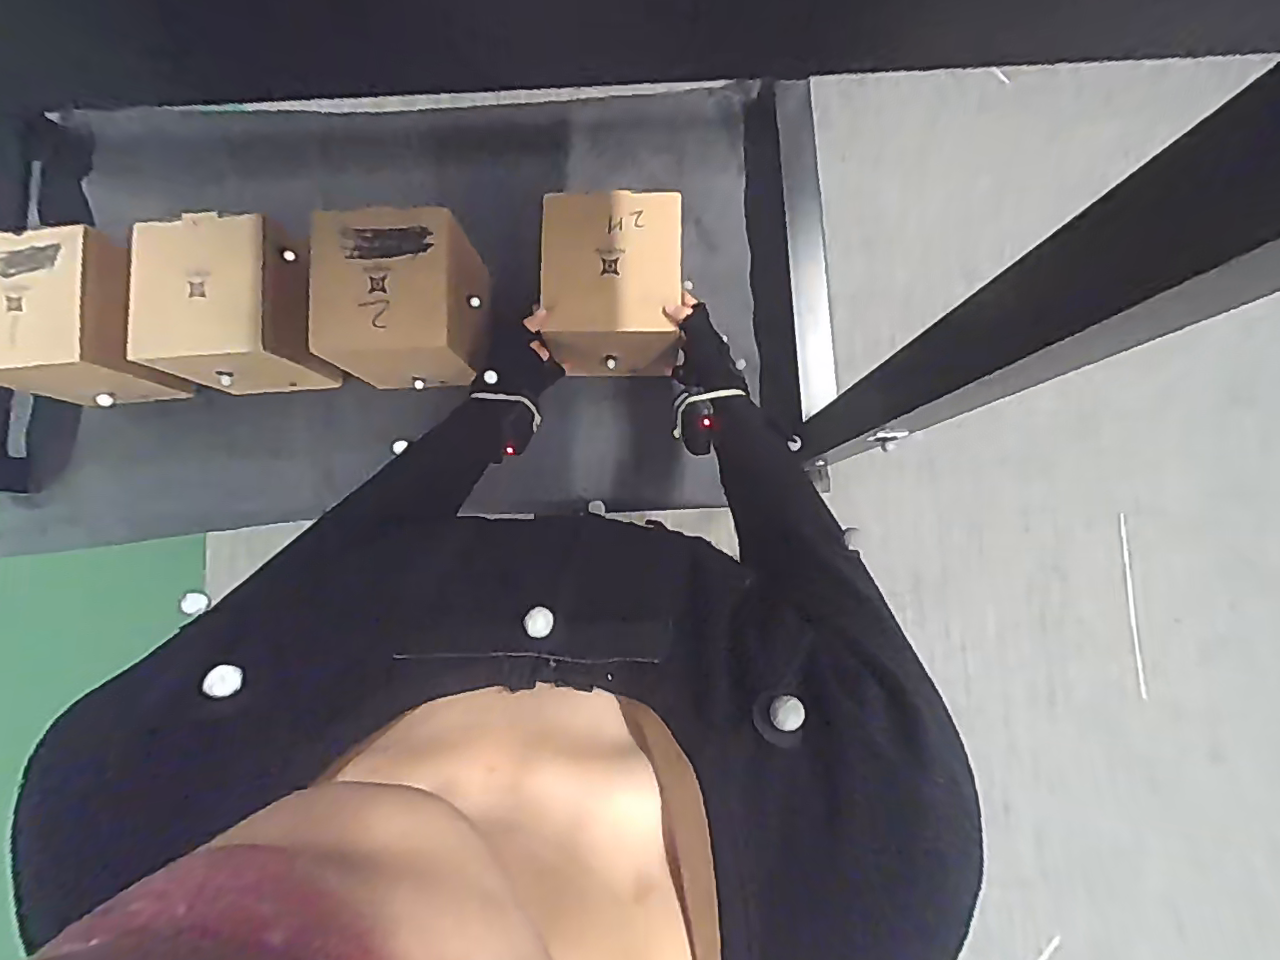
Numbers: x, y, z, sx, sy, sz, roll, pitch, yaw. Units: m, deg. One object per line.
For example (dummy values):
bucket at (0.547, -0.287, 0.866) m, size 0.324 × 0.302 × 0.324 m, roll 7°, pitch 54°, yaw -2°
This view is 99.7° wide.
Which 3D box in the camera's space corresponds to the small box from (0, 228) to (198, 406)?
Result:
small box at (-0.743, -0.209, 0.731) m, size 0.168 × 0.176 × 0.179 m, roll -4°, pitch 84°, yaw 1°

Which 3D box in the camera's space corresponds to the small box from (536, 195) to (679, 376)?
small box at (-0.035, -0.242, 0.709) m, size 0.168 × 0.176 × 0.179 m, roll 1°, pitch 83°, yaw 1°
